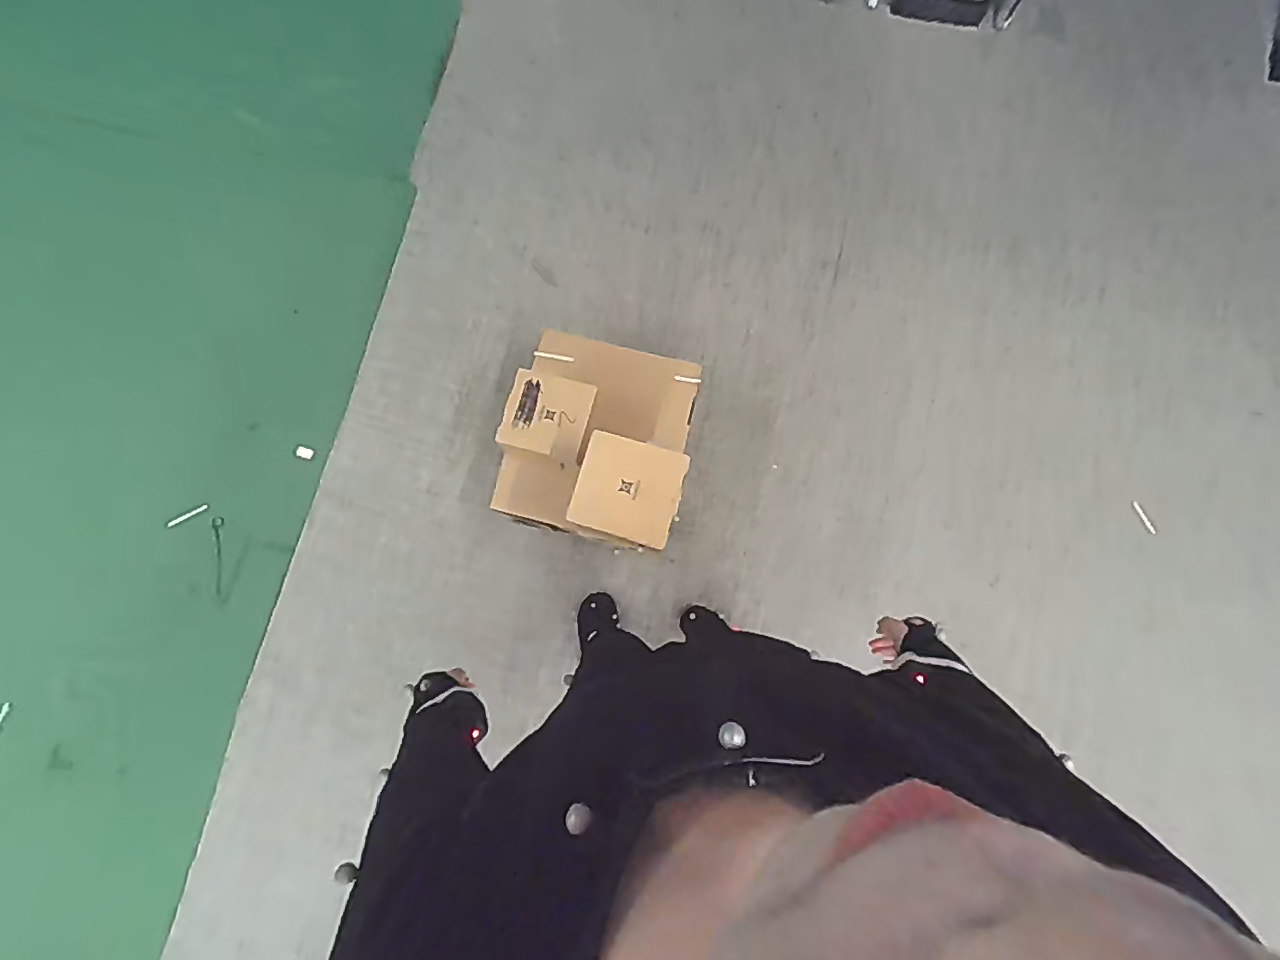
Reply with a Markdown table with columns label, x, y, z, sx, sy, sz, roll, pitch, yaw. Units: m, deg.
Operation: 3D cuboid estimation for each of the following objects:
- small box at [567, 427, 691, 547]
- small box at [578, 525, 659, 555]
| label | x | y | z | sx | sy | sz | roll | pitch | yaw |
| --- | --- | --- | --- | --- | --- | --- | --- | --- | --- |
| small box | -0.020 | 0.022 | 0.985 | 0.179 | 0.176 | 0.168 | 15 | 80 | 1 |
| small box | -0.023 | 0.053 | 1.145 | 0.168 | 0.176 | 0.179 | 15 | 81 | 3 |
